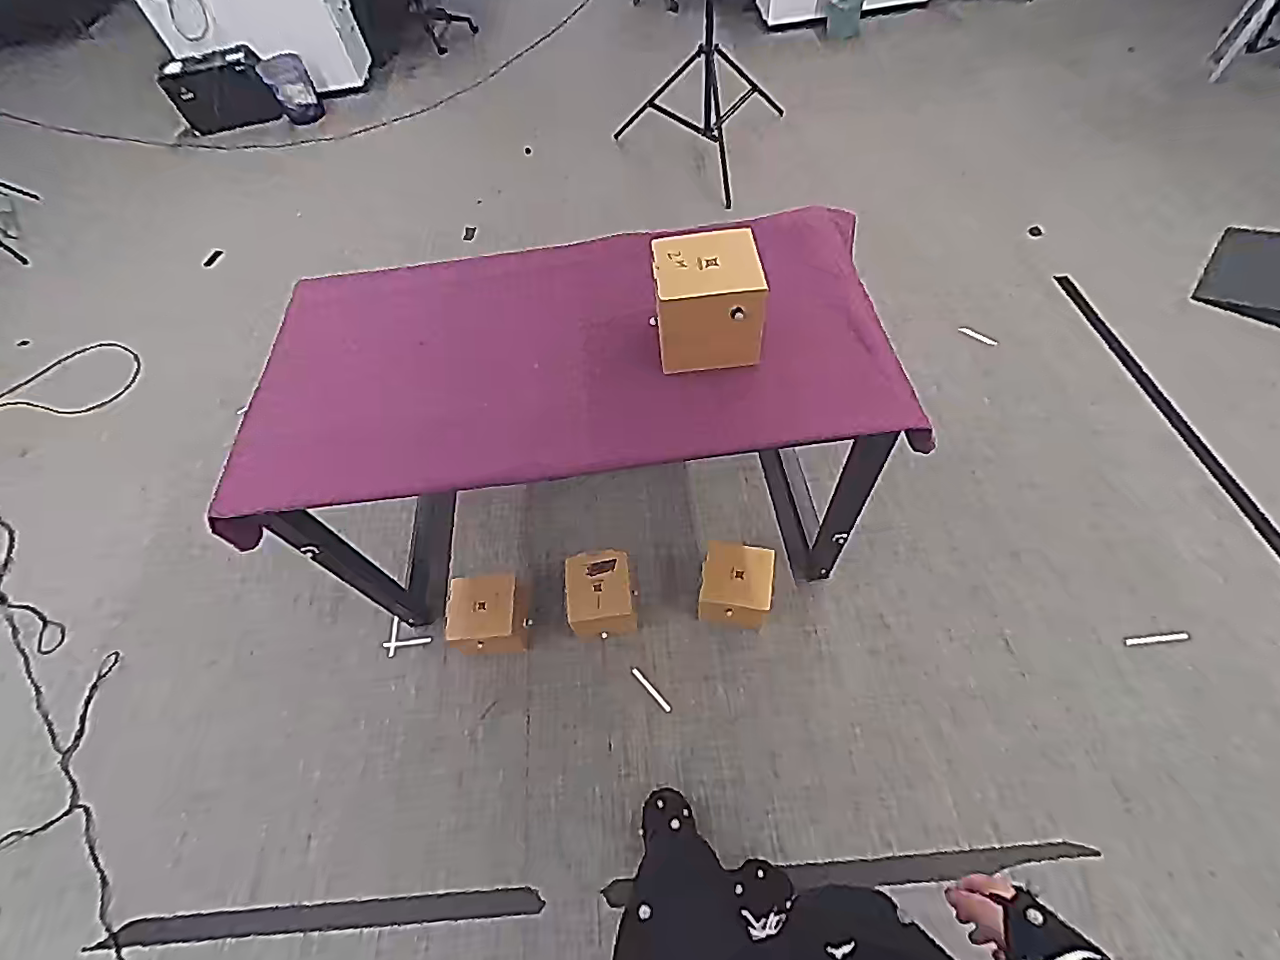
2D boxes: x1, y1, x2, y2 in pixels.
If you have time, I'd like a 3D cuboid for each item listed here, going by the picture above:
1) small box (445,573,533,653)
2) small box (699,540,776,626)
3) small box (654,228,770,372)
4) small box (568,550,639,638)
[{"bbox_3d":[-0.398,0.363,1.457,0.179,0.176,0.168,-5,58,2],"label":"small box"},{"bbox_3d":[0.258,0.279,1.436,0.179,0.176,0.168,7,60,12],"label":"small box"},{"bbox_3d":[0.121,-0.312,0.956,0.179,0.176,0.168,-6,57,3],"label":"small box"},{"bbox_3d":[-0.097,0.309,1.455,0.168,0.176,0.179,-8,58,2],"label":"small box"}]
